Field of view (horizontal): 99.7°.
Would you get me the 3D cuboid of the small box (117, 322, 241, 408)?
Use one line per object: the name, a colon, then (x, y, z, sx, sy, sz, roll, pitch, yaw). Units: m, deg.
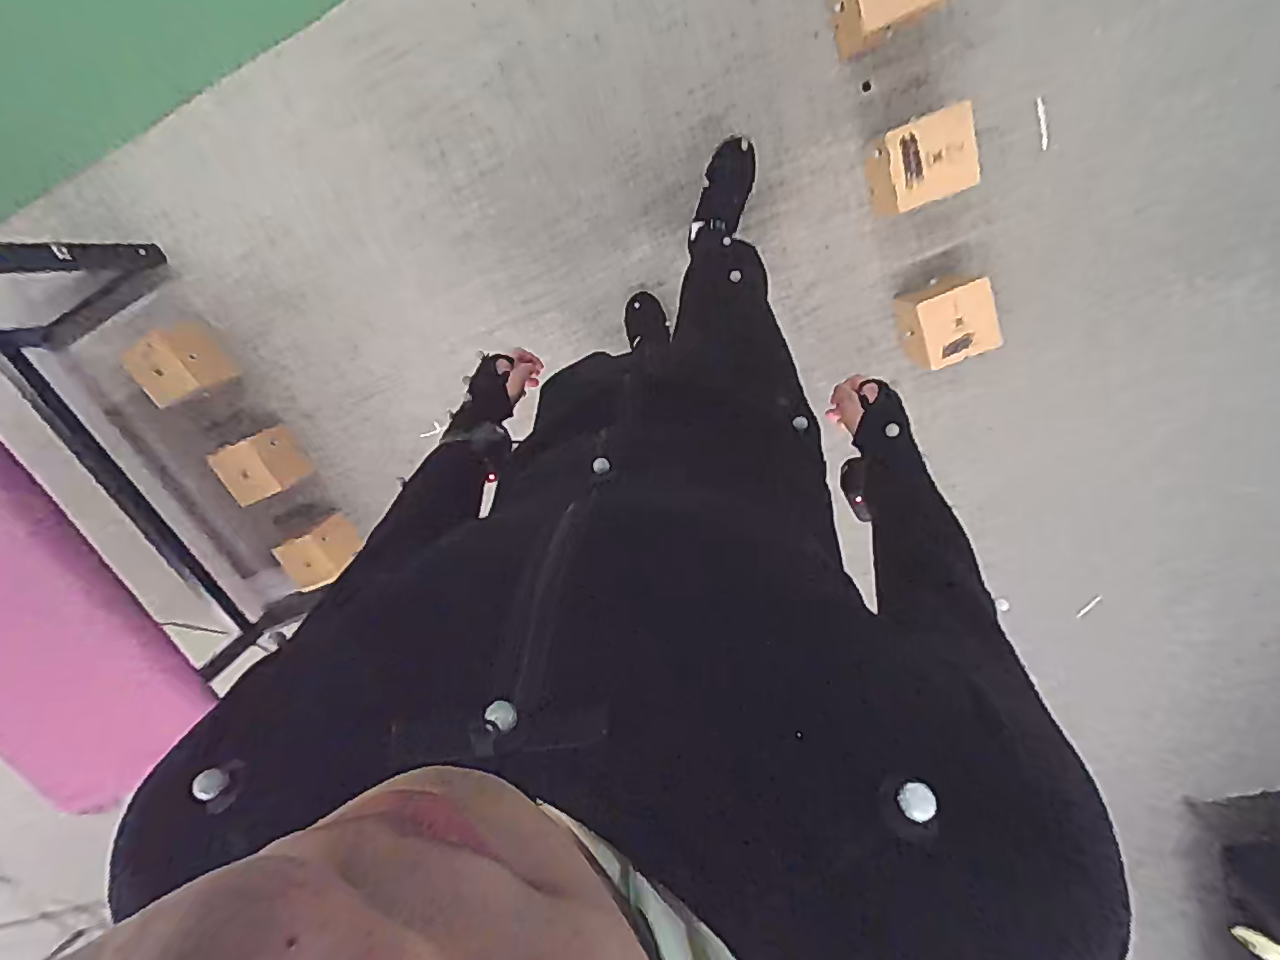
small box: (-1.317, -0.337, 1.560, 0.168, 0.176, 0.179, -24, 109, 14)

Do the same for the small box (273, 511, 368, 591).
small box: (-1.040, 0.229, 1.778, 0.168, 0.176, 0.179, -21, 109, 14)

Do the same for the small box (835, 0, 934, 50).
small box: (0.501, -1.025, 1.101, 0.179, 0.176, 0.168, -18, 110, 12)

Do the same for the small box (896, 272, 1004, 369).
small box: (0.761, -0.401, 1.340, 0.168, 0.176, 0.179, -20, 109, 13)

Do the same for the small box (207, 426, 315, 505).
small box: (-1.160, -0.052, 1.669, 0.168, 0.176, 0.179, -20, 110, 14)
